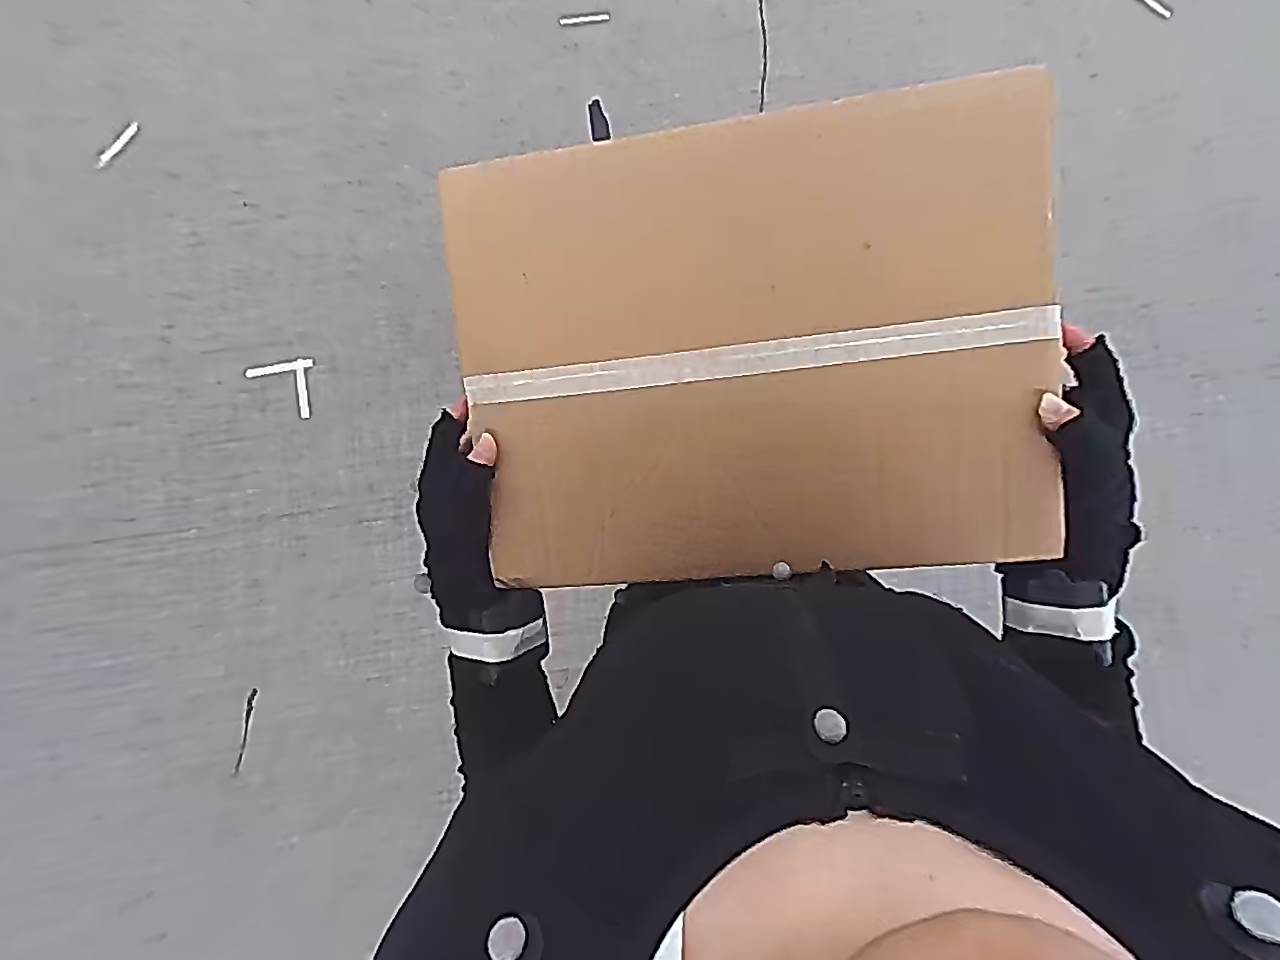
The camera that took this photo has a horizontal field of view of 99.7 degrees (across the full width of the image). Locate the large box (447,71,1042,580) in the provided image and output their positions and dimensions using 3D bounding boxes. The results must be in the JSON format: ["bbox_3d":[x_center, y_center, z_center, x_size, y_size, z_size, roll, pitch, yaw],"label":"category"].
[{"bbox_3d":[0.089,-0.110,0.530,0.408,0.320,0.320,-5,97,8],"label":"large box"}]
